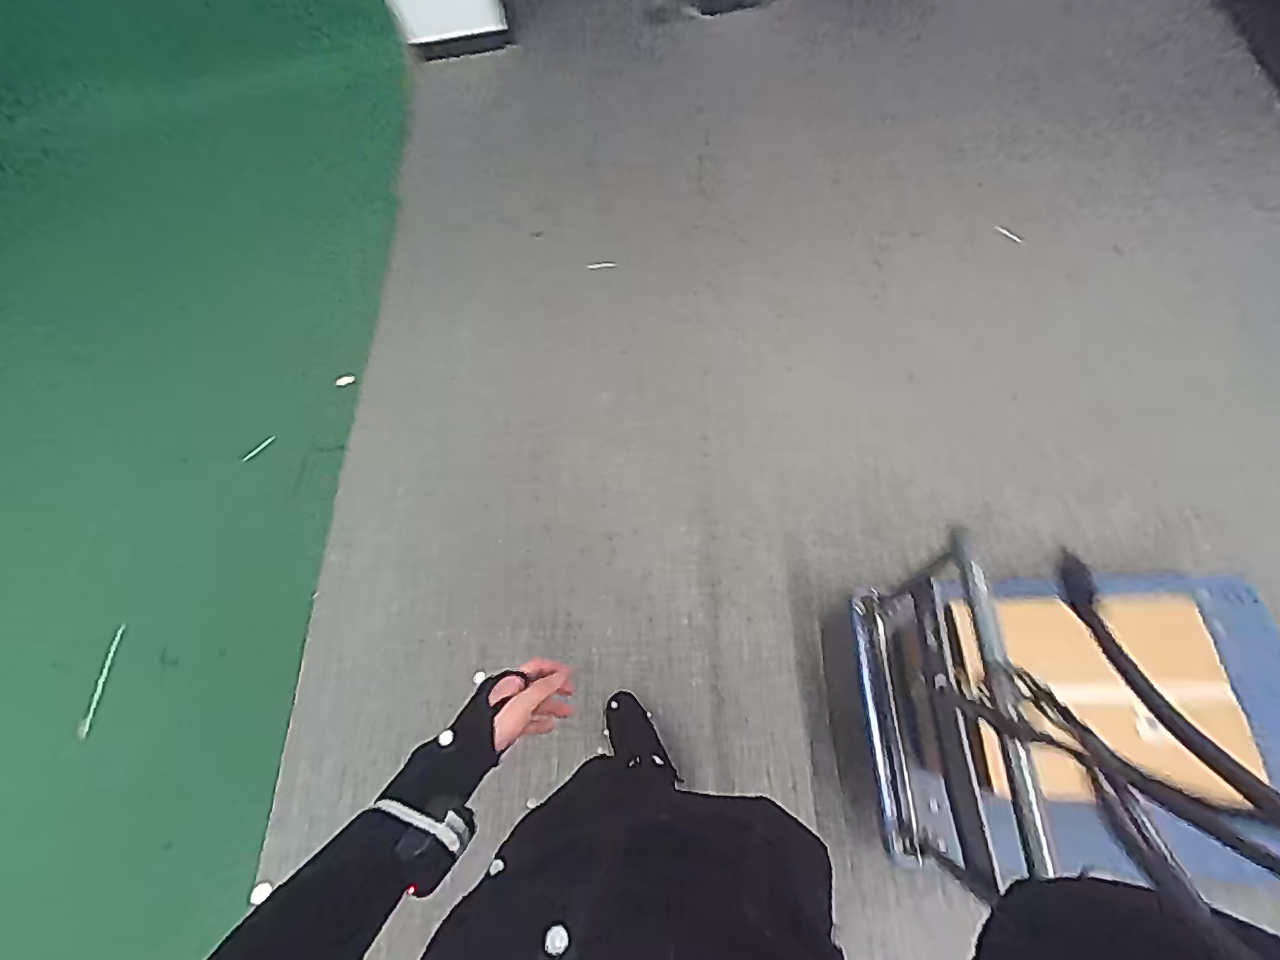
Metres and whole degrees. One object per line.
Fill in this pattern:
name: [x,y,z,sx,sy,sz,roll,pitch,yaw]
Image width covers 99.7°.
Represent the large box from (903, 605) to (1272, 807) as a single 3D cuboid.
large box: [0.789,0.430,1.043,0.408,0.320,0.320,-2,66,7]
